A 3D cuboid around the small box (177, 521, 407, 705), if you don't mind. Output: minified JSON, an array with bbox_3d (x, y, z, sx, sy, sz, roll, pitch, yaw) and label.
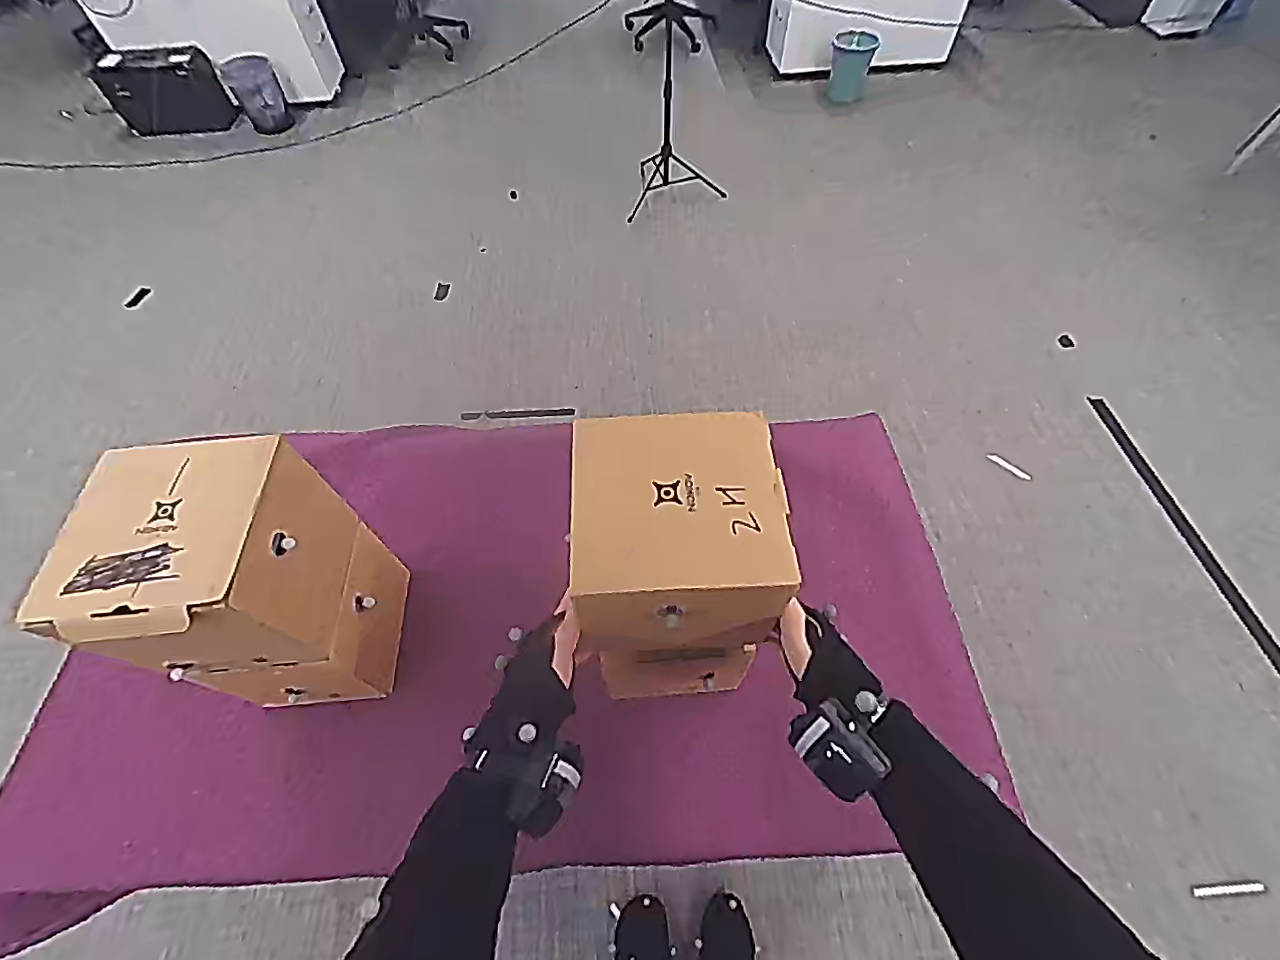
[{"bbox_3d":[-0.412,0.171,0.682,0.168,0.176,0.179,-4,58,-2],"label":"small box"}]

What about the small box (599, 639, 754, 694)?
[{"bbox_3d":[0.037,0.161,0.675,0.168,0.176,0.179,-4,57,-1],"label":"small box"}]

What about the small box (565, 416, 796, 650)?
[{"bbox_3d":[0.030,0.057,0.510,0.179,0.176,0.168,-2,59,-1],"label":"small box"}]

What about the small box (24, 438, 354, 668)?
[{"bbox_3d":[-0.416,0.082,0.544,0.168,0.176,0.179,-5,57,-3],"label":"small box"}]
